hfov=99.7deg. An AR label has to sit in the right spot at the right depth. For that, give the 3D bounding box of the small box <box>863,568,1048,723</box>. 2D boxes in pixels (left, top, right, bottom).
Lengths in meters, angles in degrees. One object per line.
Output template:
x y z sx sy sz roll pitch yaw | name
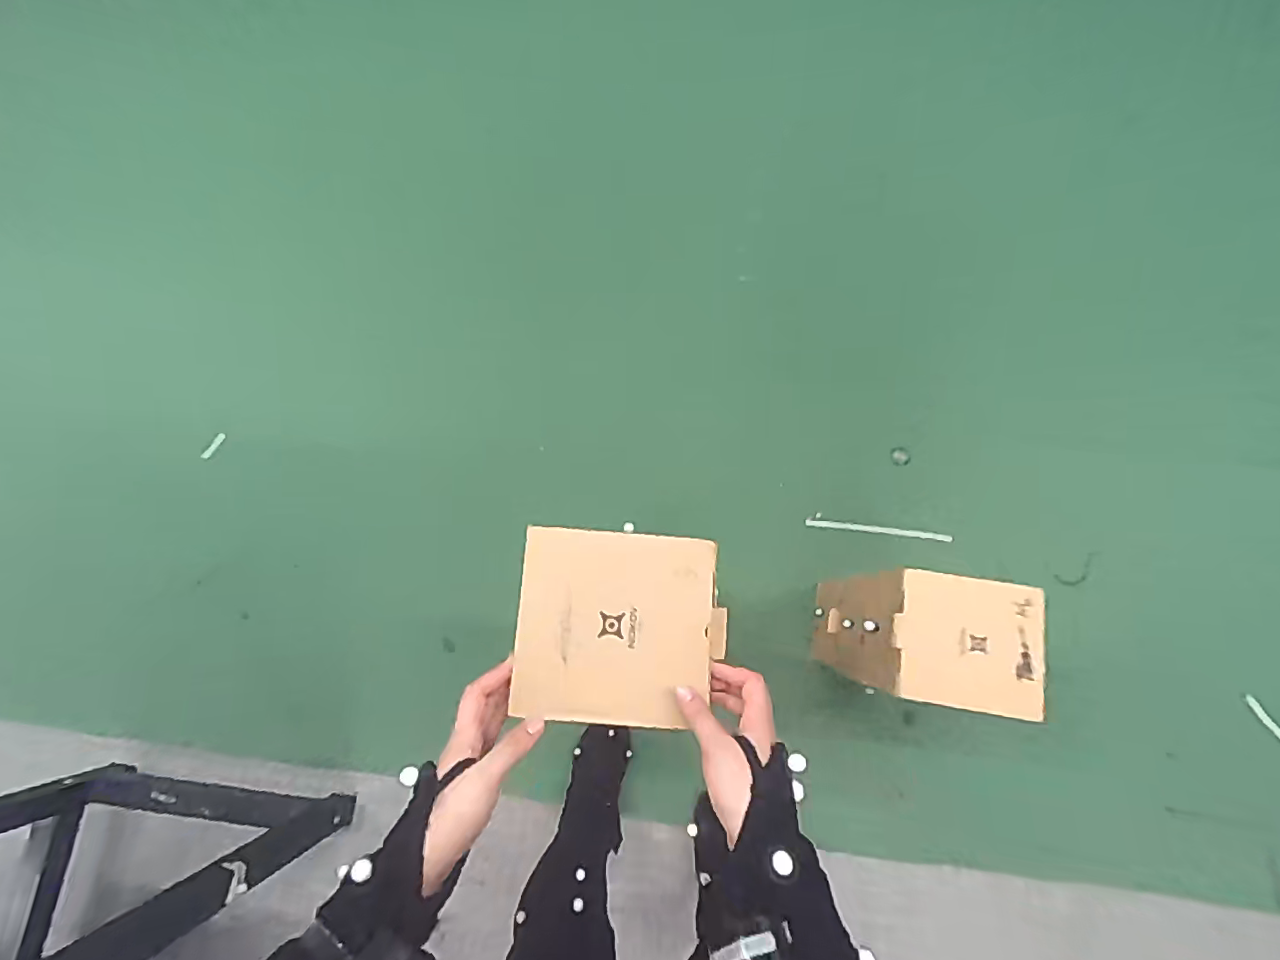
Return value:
0.429 0.225 0.760 0.179 0.176 0.168 8 77 7 | small box

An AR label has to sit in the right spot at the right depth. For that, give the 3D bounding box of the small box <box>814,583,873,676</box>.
0.464 0.302 1.078 0.179 0.176 0.168 9 78 6 | small box
